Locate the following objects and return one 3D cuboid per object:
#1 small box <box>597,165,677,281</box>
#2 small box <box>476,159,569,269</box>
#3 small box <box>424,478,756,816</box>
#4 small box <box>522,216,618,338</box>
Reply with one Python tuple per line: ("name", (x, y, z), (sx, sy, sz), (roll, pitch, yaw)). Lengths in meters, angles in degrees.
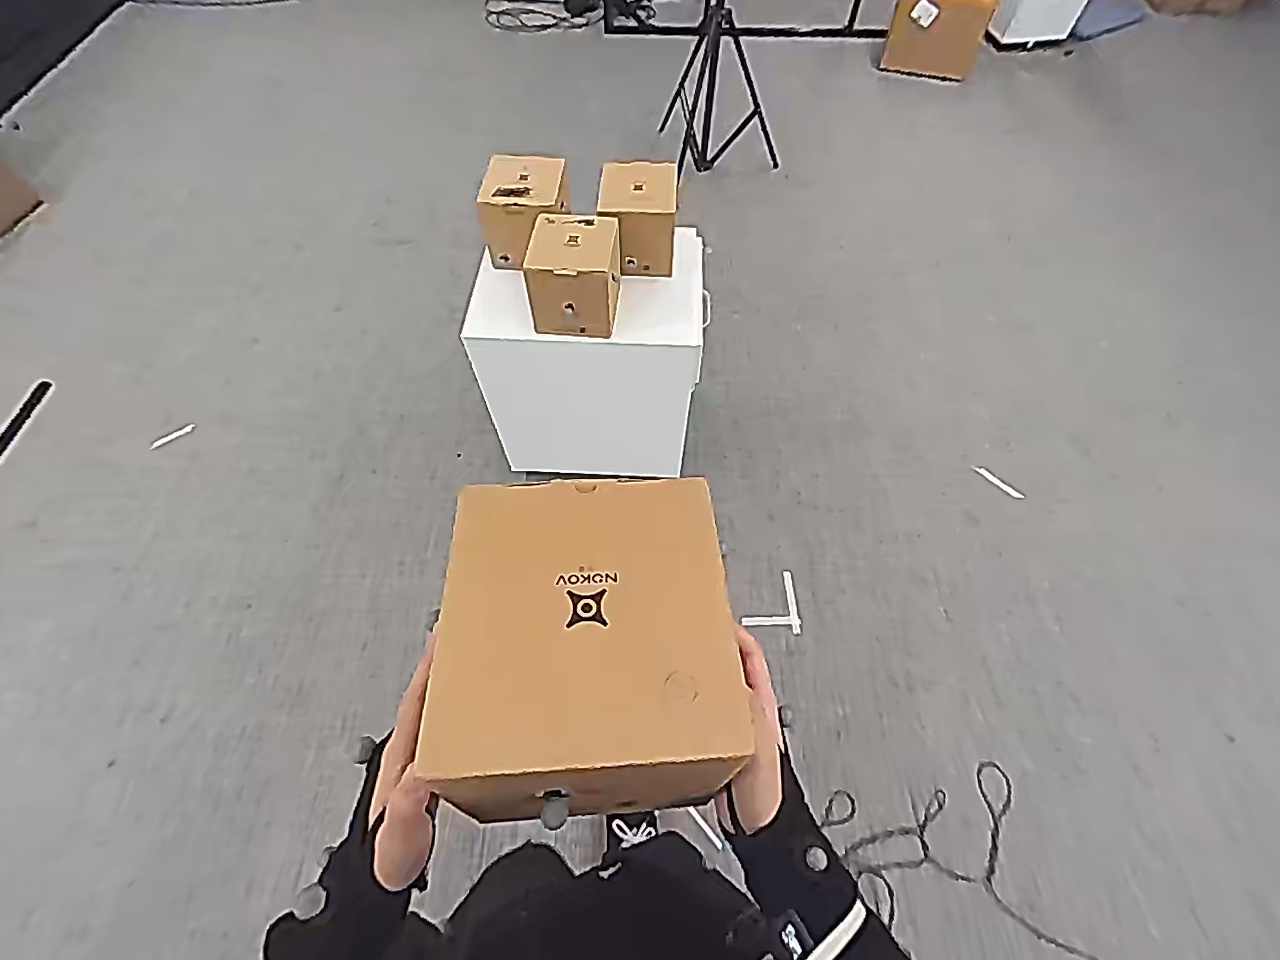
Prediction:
("small box", (-0.005, -0.578, 1.221), (0.168, 0.176, 0.179), (2, 62, 2))
("small box", (-0.255, -0.593, 1.224), (0.168, 0.176, 0.179), (4, 60, 1))
("small box", (-0.031, 0.120, 0.373), (0.168, 0.176, 0.179), (-2, 51, -5))
("small box", (-0.135, -0.416, 1.124), (0.168, 0.176, 0.179), (4, 60, 2))
